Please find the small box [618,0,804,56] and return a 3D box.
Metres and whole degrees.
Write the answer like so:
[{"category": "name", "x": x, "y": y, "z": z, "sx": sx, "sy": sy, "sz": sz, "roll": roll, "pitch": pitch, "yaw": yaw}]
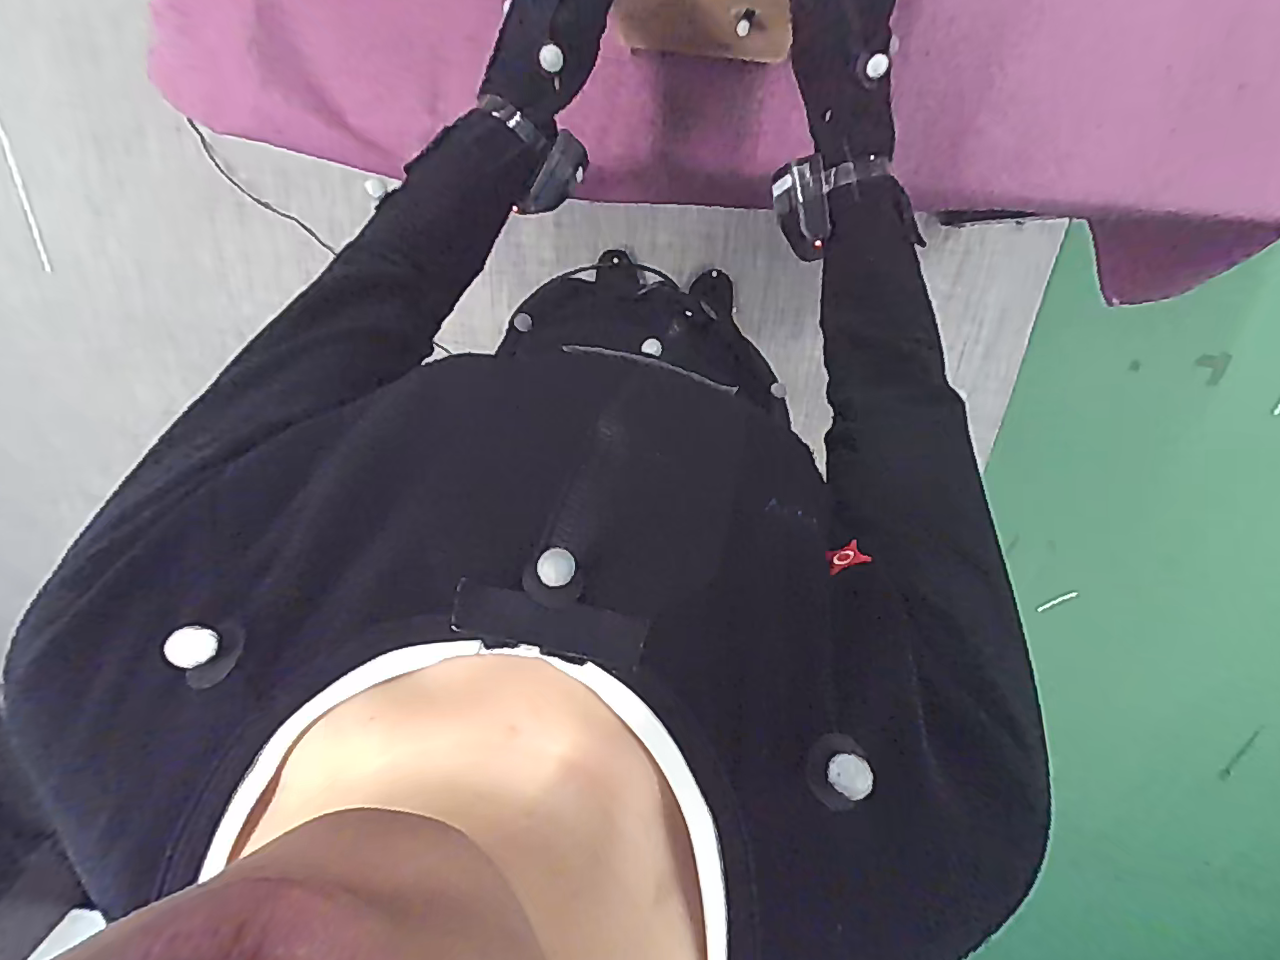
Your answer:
[{"category": "small box", "x": 0.068, "y": -0.484, "z": 0.438, "sx": 0.168, "sy": 0.176, "sz": 0.179, "roll": 8, "pitch": 109, "yaw": 1}]
